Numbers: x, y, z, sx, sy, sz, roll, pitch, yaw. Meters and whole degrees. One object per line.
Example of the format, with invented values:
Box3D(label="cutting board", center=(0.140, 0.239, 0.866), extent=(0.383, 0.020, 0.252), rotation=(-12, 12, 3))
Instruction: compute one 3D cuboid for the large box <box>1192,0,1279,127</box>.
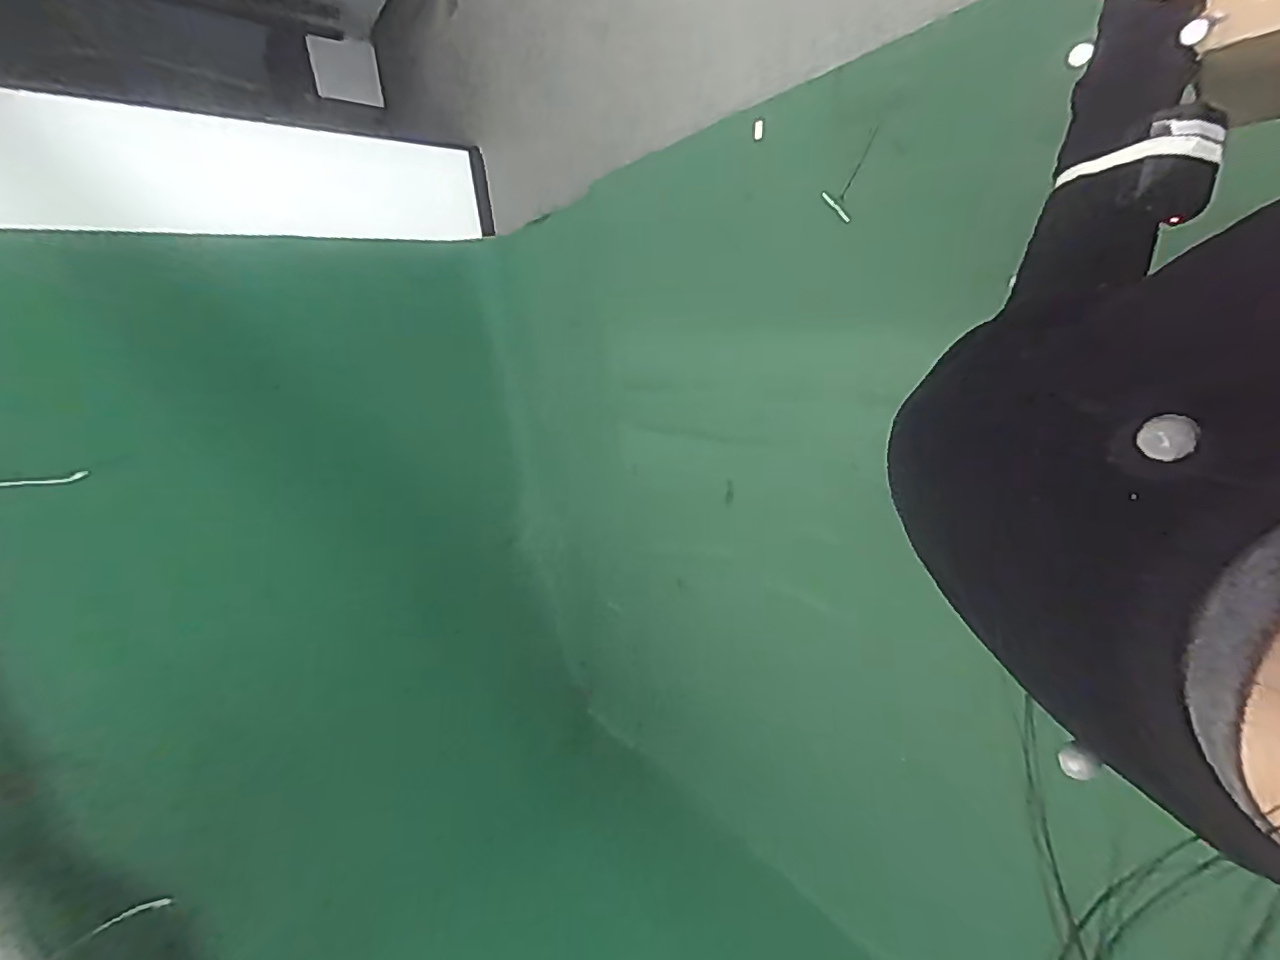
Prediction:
Box3D(label="large box", center=(0.605, -0.444, 0.285), extent=(0.408, 0.320, 0.320), rotation=(10, 112, 44))
